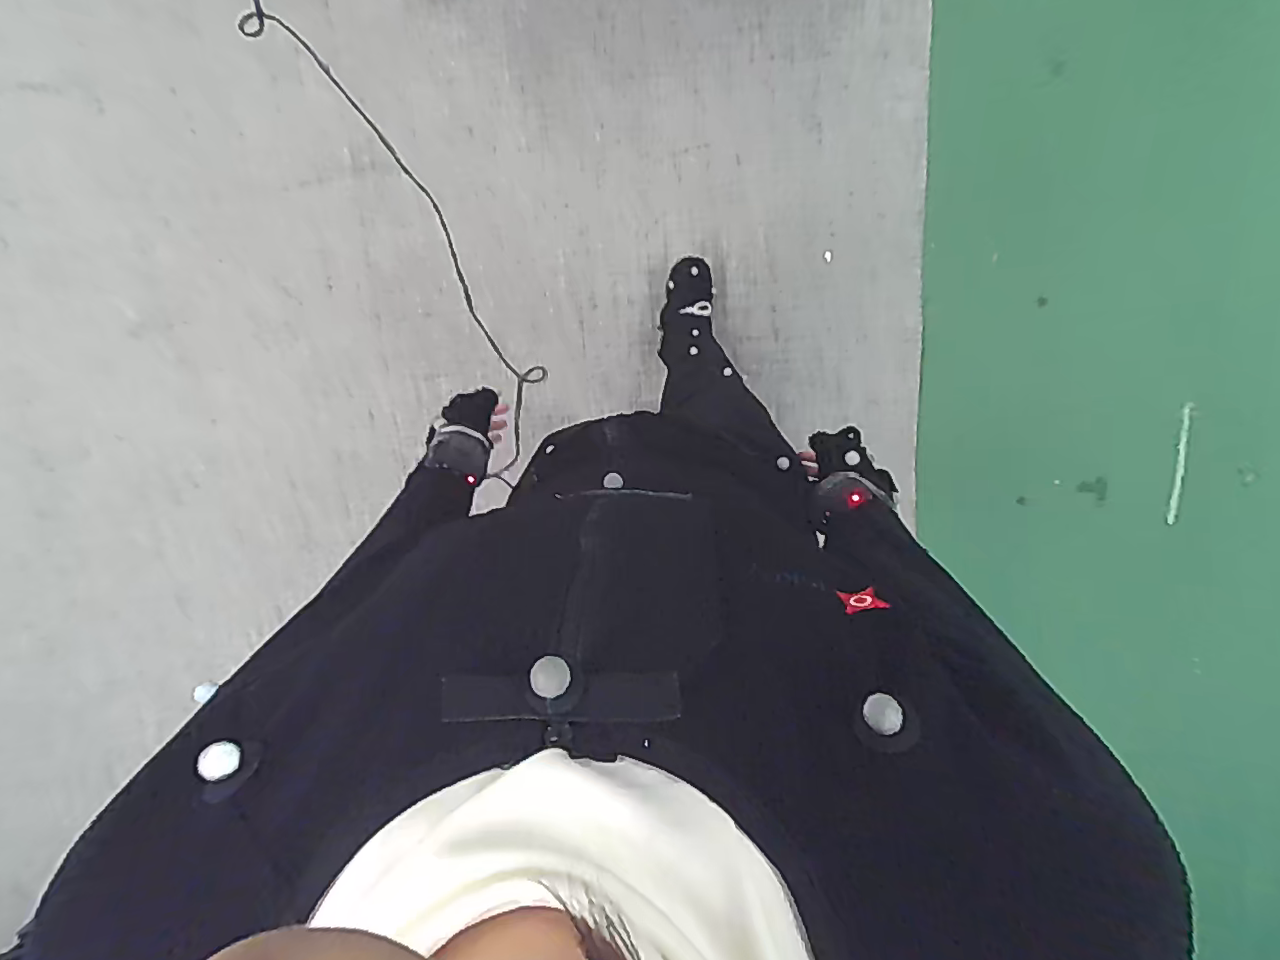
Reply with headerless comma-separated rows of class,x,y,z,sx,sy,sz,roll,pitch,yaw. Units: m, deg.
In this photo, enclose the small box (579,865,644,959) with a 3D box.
small box,-0.082,1.321,1.651,0.179,0.176,0.168,-6,103,1
